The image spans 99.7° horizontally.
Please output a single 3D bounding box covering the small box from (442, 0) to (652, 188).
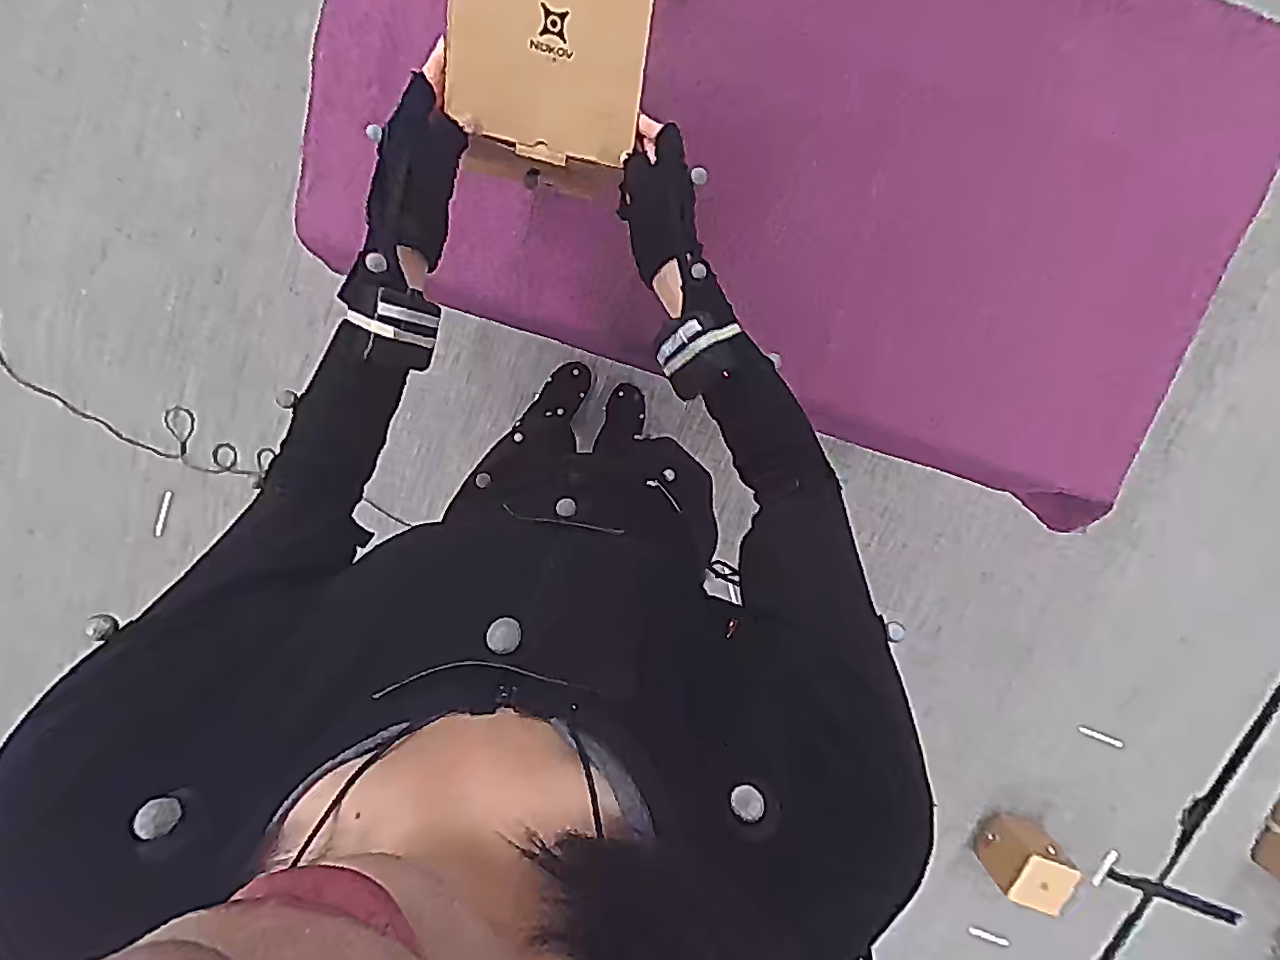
[{"bbox_3d":[-0.096,-0.403,0.527,0.168,0.176,0.179,4,109,-19],"label":"small box"}]

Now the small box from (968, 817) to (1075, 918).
[{"bbox_3d":[1.173,1.193,1.676,0.179,0.176,0.168,22,98,-4],"label":"small box"}]
